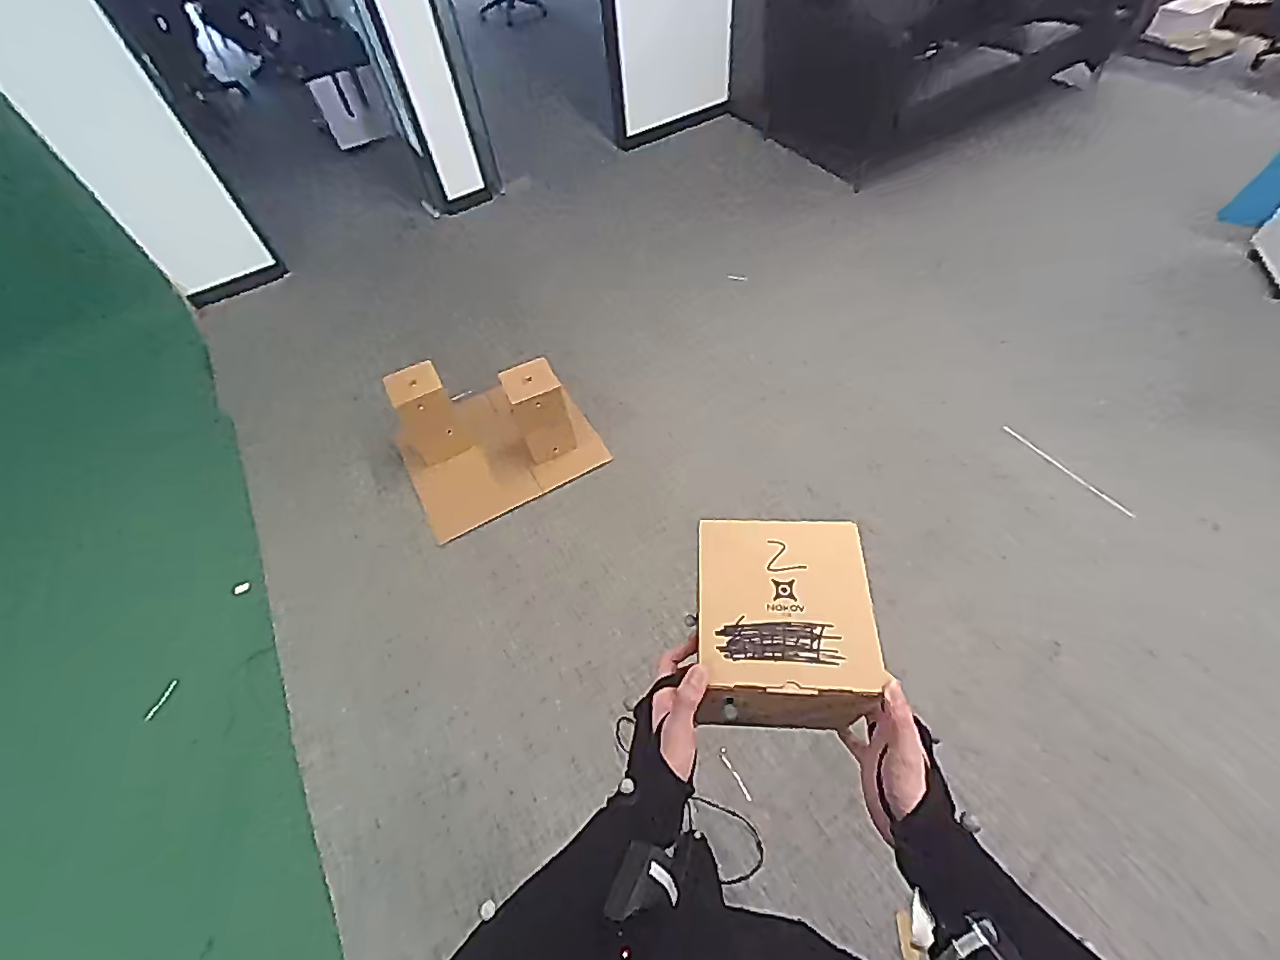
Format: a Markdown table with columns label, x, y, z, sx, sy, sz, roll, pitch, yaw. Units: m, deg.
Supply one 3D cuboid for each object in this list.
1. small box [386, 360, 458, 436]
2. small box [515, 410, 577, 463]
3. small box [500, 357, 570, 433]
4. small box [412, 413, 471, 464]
| label | x | y | z | sx | sy | sz | roll | pitch | yaw |
| --- | --- | --- | --- | --- | --- | --- | --- | --- | --- |
| small box | -0.766 | -0.289 | 1.920 | 0.179 | 0.176 | 0.168 | -27 | 58 | -12 |
| small box | -0.347 | -0.197 | 2.019 | 0.179 | 0.176 | 0.168 | -25 | 56 | -12 |
| small box | -0.362 | -0.292 | 1.887 | 0.179 | 0.176 | 0.168 | -23 | 57 | -10 |
| small box | -0.760 | -0.194 | 2.051 | 0.179 | 0.176 | 0.168 | -26 | 56 | -12 |
